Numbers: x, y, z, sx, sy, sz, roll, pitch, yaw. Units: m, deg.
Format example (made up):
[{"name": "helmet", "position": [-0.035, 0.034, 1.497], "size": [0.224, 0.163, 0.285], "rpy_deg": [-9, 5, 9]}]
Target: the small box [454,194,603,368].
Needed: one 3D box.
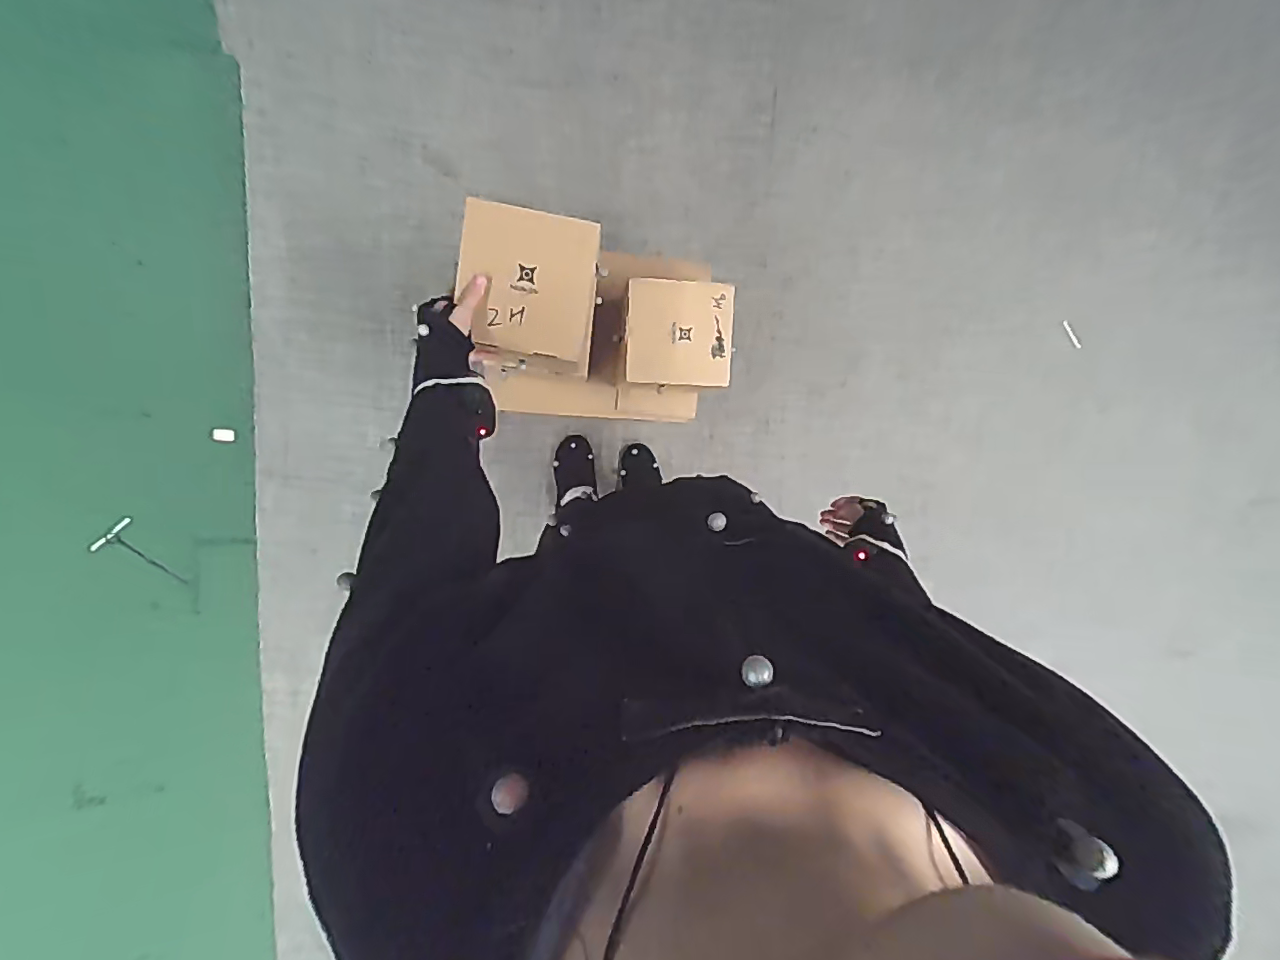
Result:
[{"name": "small box", "position": [-0.147, -0.261, 0.753], "size": [0.168, 0.176, 0.179], "rpy_deg": [8, 96, -6]}]
